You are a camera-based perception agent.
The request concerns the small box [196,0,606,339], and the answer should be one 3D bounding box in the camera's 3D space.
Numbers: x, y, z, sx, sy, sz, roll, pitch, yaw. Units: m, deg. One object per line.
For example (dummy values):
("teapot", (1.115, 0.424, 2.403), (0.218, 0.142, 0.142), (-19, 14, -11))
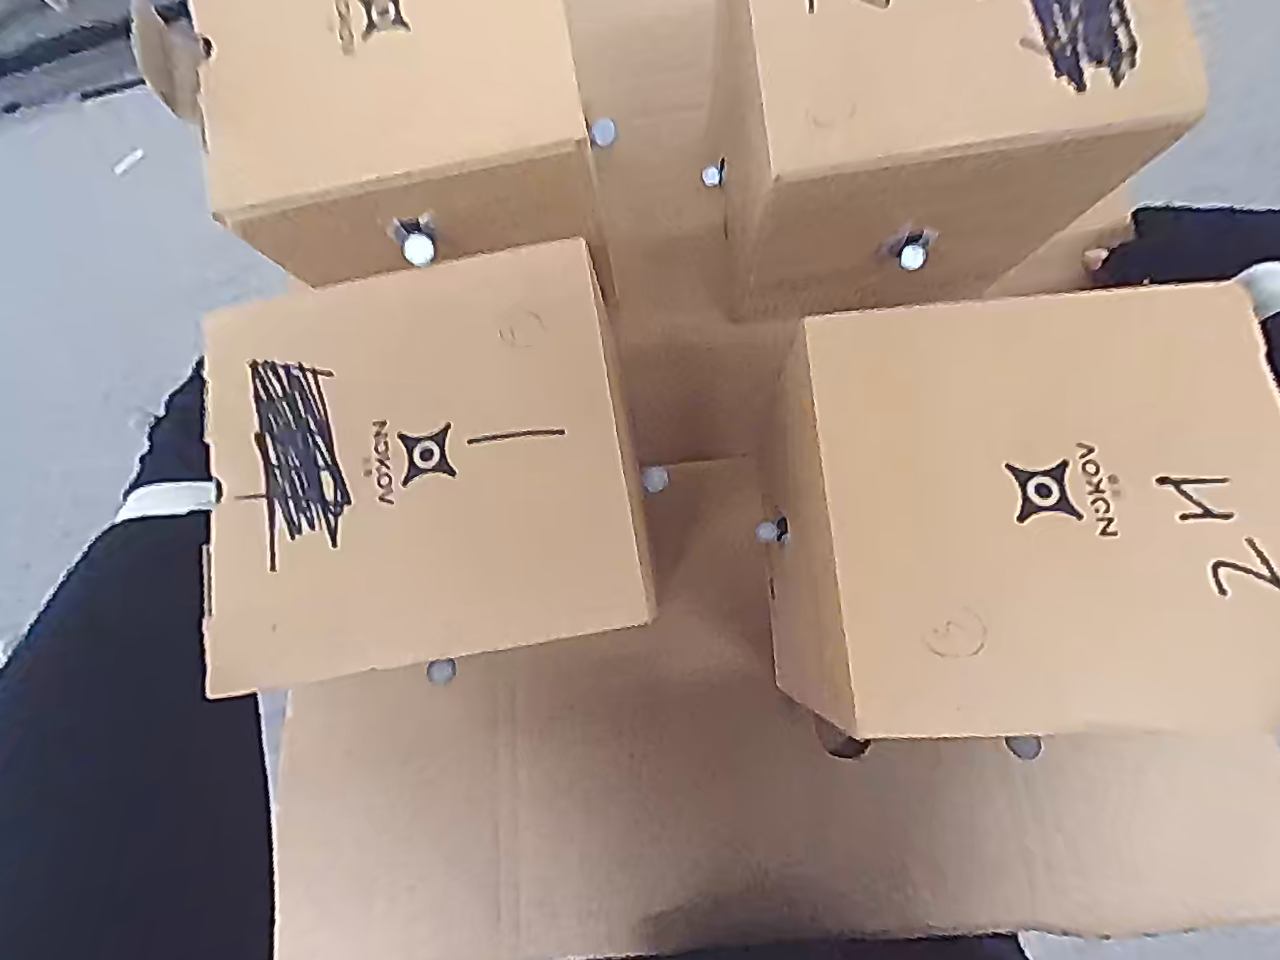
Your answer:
("small box", (-0.121, -0.206, 0.336), (0.179, 0.176, 0.168), (-11, 84, 3))
